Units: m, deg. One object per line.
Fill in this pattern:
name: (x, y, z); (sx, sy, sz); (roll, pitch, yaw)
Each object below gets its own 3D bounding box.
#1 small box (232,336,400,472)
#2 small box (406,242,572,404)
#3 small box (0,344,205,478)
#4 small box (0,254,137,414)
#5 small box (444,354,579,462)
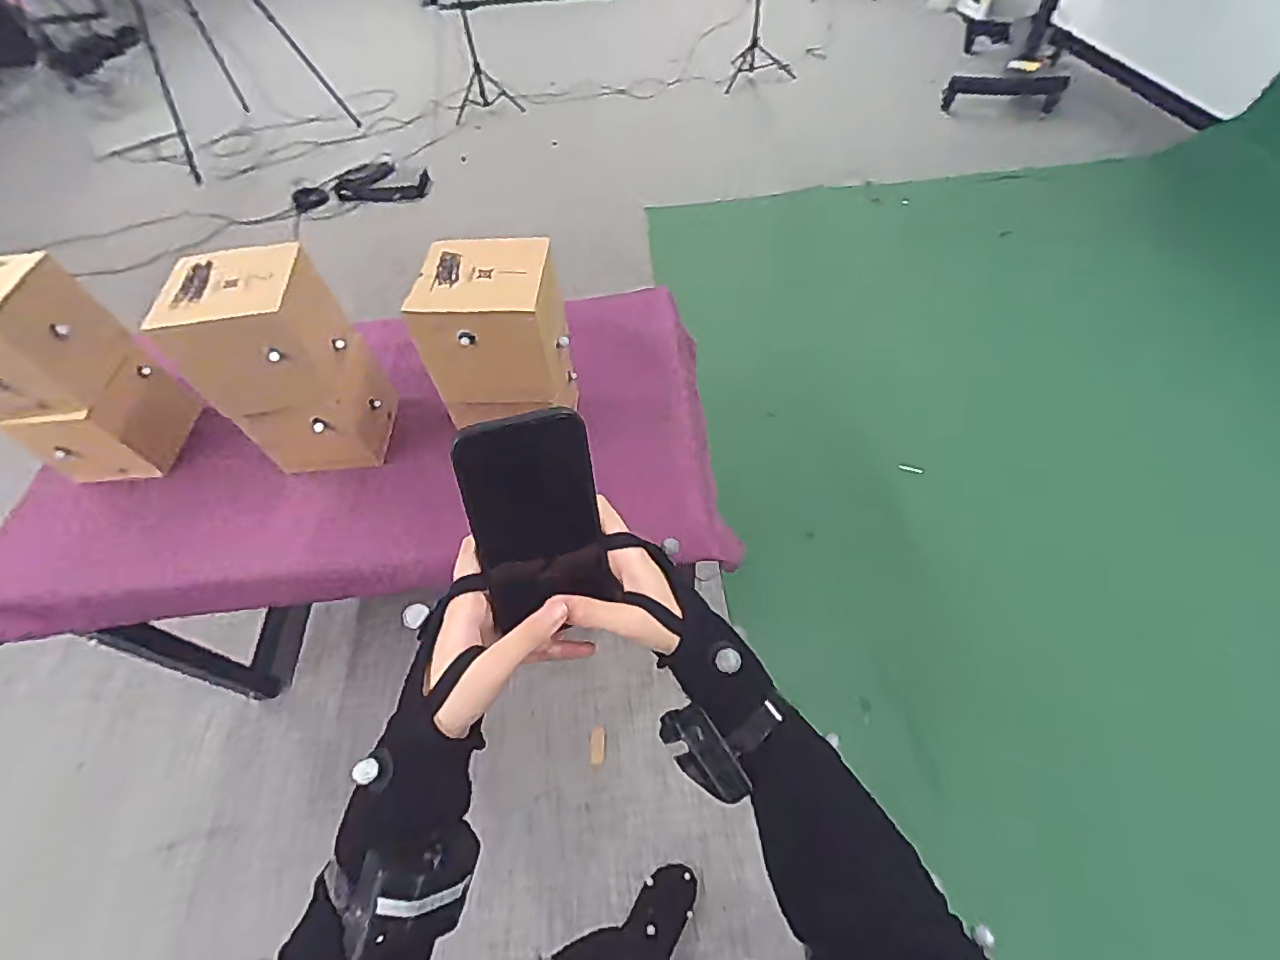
small box: (-0.548, -0.129, 0.949); (0.179, 0.176, 0.168); (-4, 54, 1)
small box: (-0.207, -0.227, 0.797); (0.179, 0.176, 0.168); (1, 55, 3)
small box: (-0.939, -0.115, 0.966); (0.168, 0.176, 0.179); (-4, 55, 1)
small box: (-0.948, -0.217, 0.837); (0.168, 0.176, 0.179); (-8, 55, -3)
small box: (-0.208, -0.144, 0.939); (0.179, 0.176, 0.168); (0, 54, 4)
